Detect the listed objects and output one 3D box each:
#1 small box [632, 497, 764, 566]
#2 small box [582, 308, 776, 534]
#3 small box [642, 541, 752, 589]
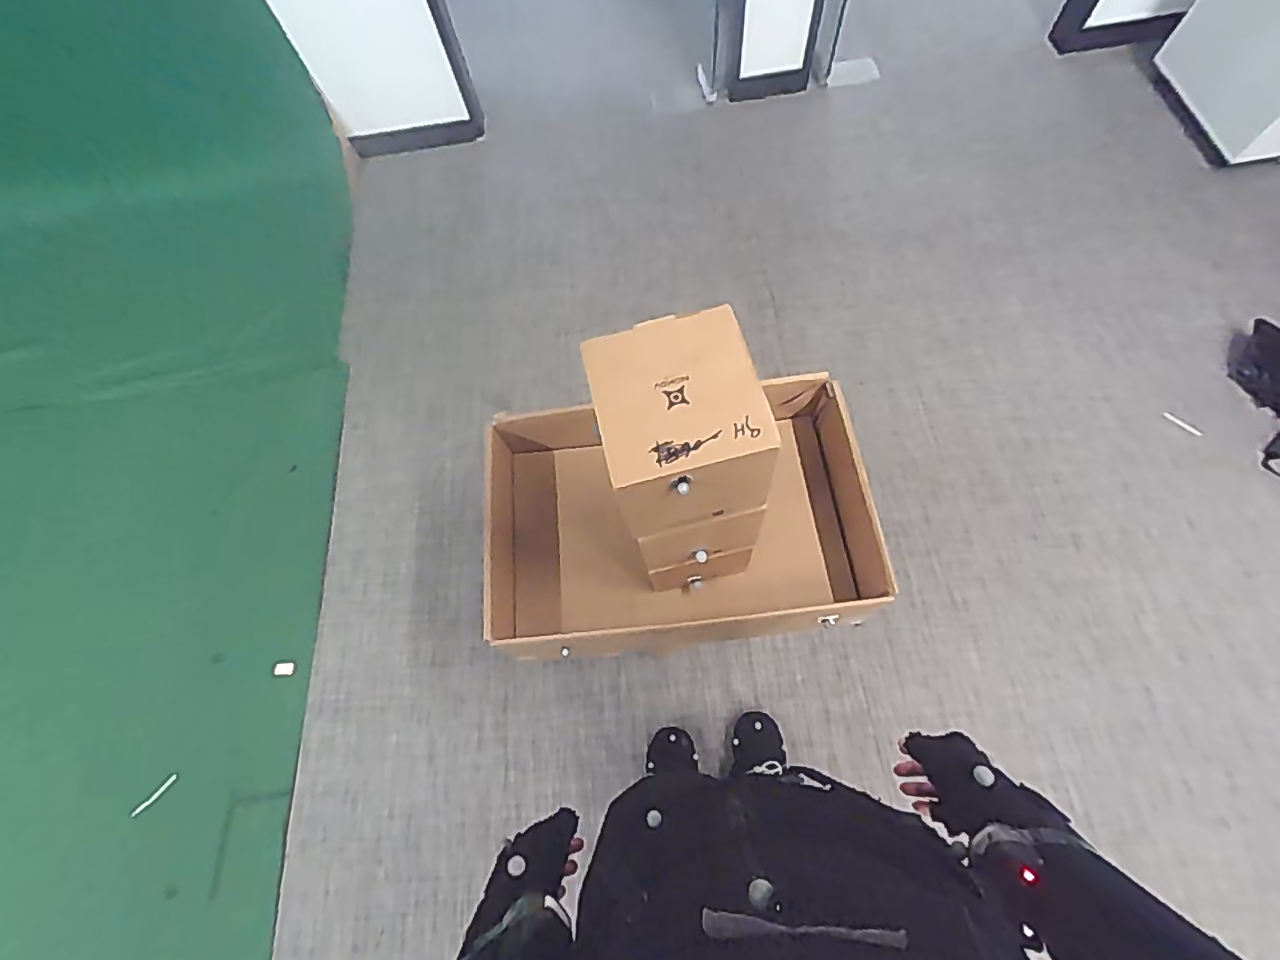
[{"bbox_3d":[0.064,0.006,0.766,0.168,0.176,0.179,-14,67,2],"label":"small box"},{"bbox_3d":[0.042,-0.058,0.617,0.168,0.176,0.179,-15,66,2],"label":"small box"},{"bbox_3d":[0.080,0.070,0.916,0.168,0.176,0.179,-14,68,1],"label":"small box"}]
